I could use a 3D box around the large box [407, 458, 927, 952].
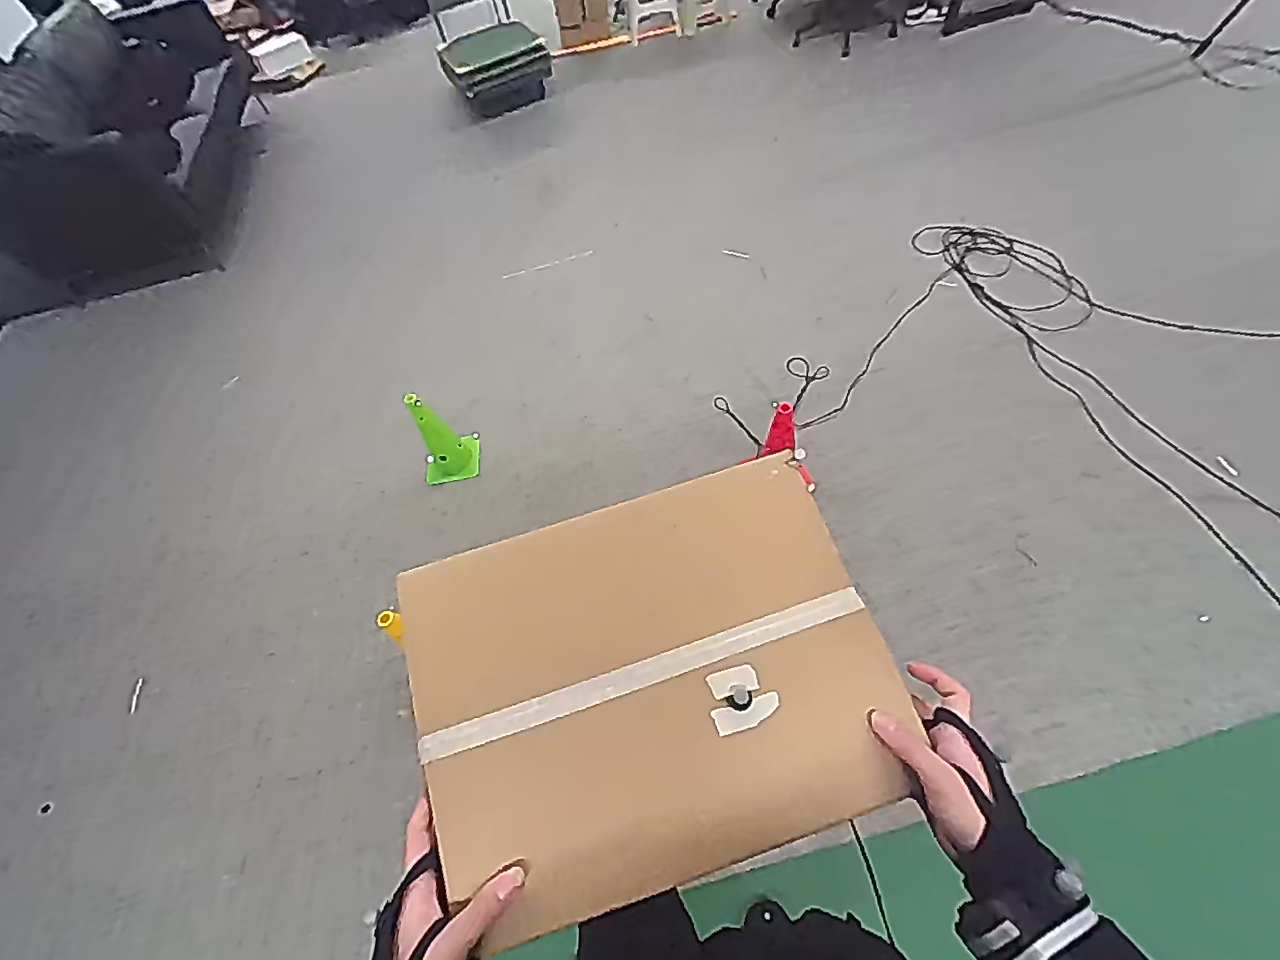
[{"bbox_3d":[0.011,0.226,0.624,0.408,0.320,0.320,-18,69,-5],"label":"large box"}]

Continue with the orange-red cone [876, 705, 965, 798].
[{"bbox_3d":[0.640,0.585,1.208,0.199,0.360,0.198,-9,57,2],"label":"orange-red cone"}]

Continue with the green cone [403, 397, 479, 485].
[{"bbox_3d":[-0.738,-0.167,1.919,0.200,0.368,0.202,-11,58,2],"label":"green cone"}]
